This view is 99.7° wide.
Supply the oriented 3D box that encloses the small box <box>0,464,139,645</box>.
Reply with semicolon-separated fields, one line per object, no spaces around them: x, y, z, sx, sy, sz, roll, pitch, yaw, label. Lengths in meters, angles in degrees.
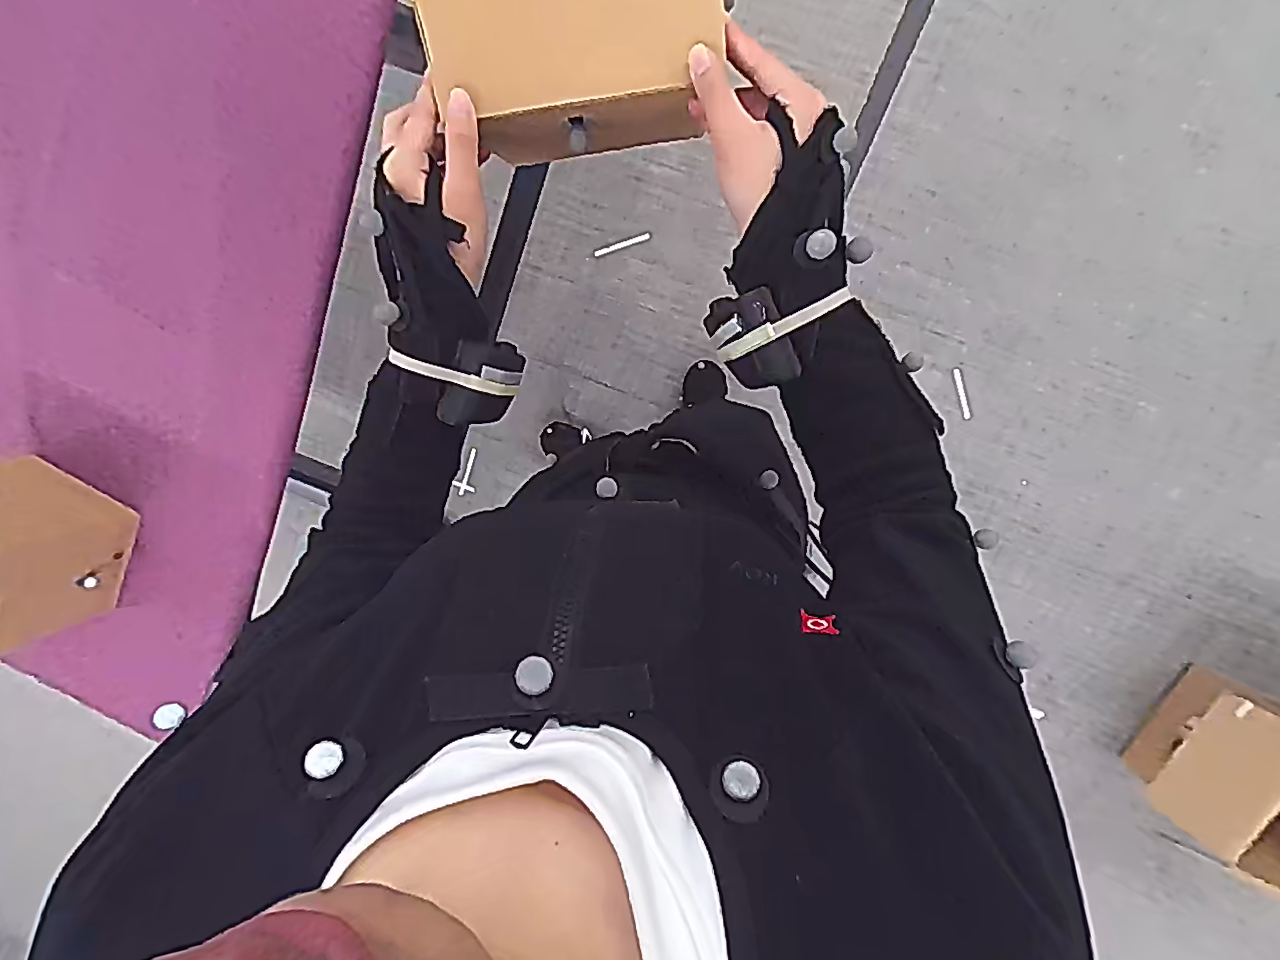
-0.803;0.092;0.679;0.179;0.176;0.168;29;103;1;small box
